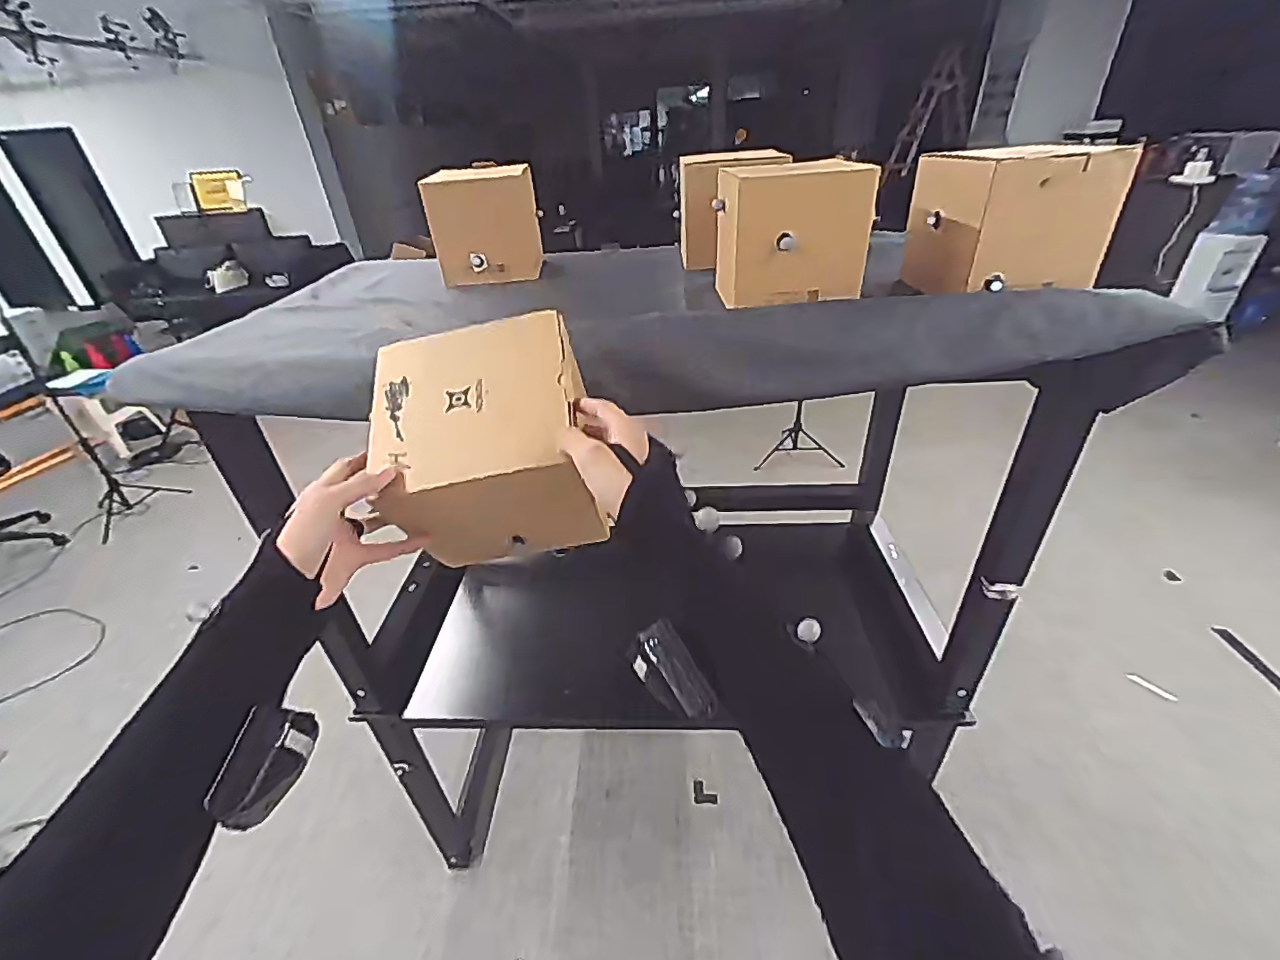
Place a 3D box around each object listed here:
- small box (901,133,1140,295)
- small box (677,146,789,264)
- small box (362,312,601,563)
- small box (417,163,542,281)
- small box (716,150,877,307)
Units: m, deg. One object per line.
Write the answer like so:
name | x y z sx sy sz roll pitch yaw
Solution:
small box | 0.469 -0.342 0.702 0.168 0.176 0.179 -5 32 -1
small box | 0.159 -0.490 0.964 0.179 0.176 0.168 -2 34 3
small box | -0.137 -0.032 0.529 0.179 0.176 0.168 -10 61 1
small box | -0.274 -0.463 0.970 0.168 0.176 0.179 -6 33 -2
small box | 0.195 -0.334 0.724 0.168 0.176 0.179 -3 32 2
